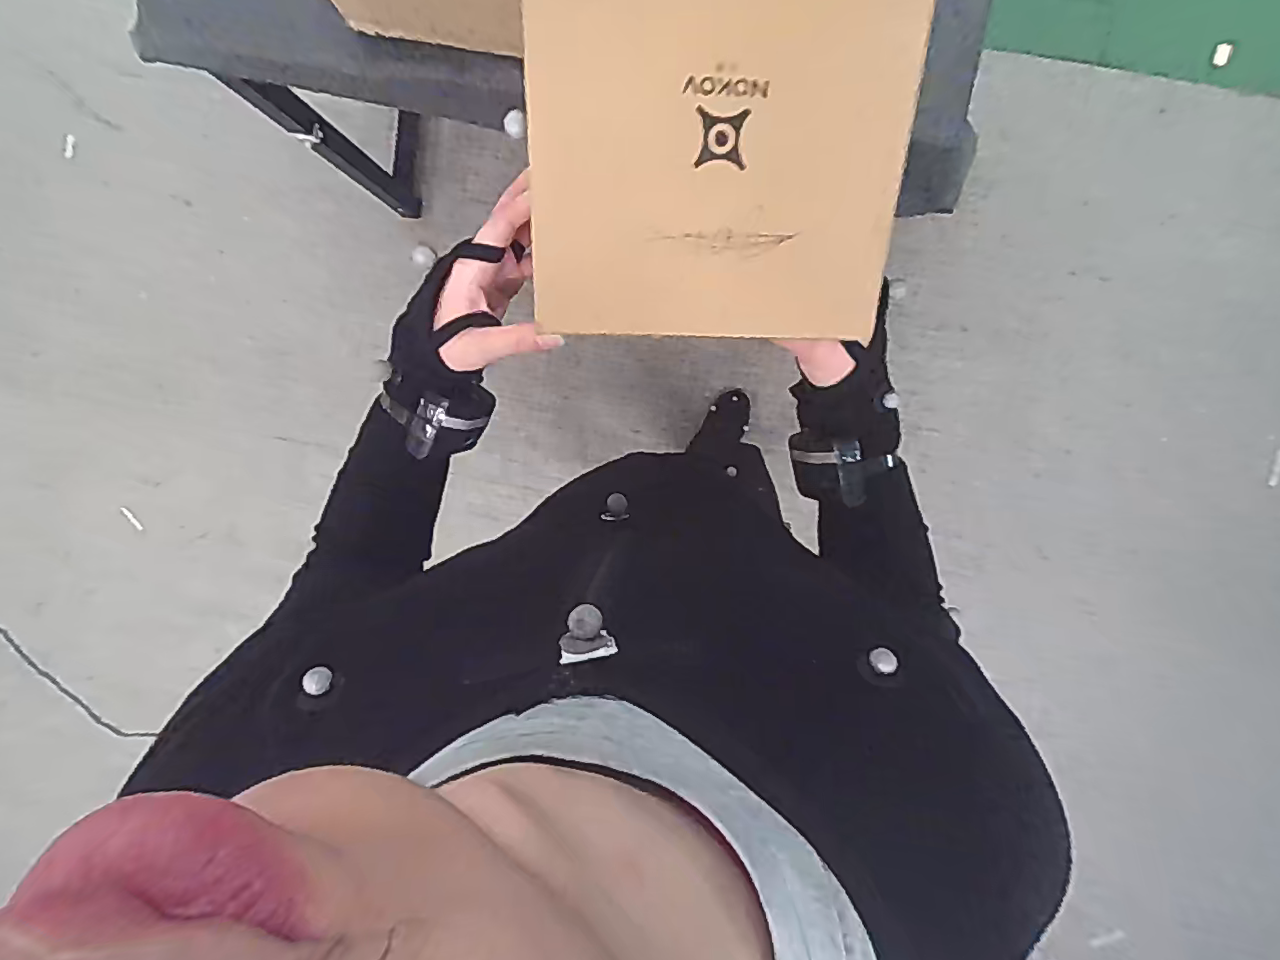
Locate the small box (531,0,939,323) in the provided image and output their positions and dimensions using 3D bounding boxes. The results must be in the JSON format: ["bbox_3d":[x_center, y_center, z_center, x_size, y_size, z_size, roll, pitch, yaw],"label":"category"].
[{"bbox_3d":[0.030,-0.191,0.299,0.168,0.176,0.179,1,114,-5],"label":"small box"}]
